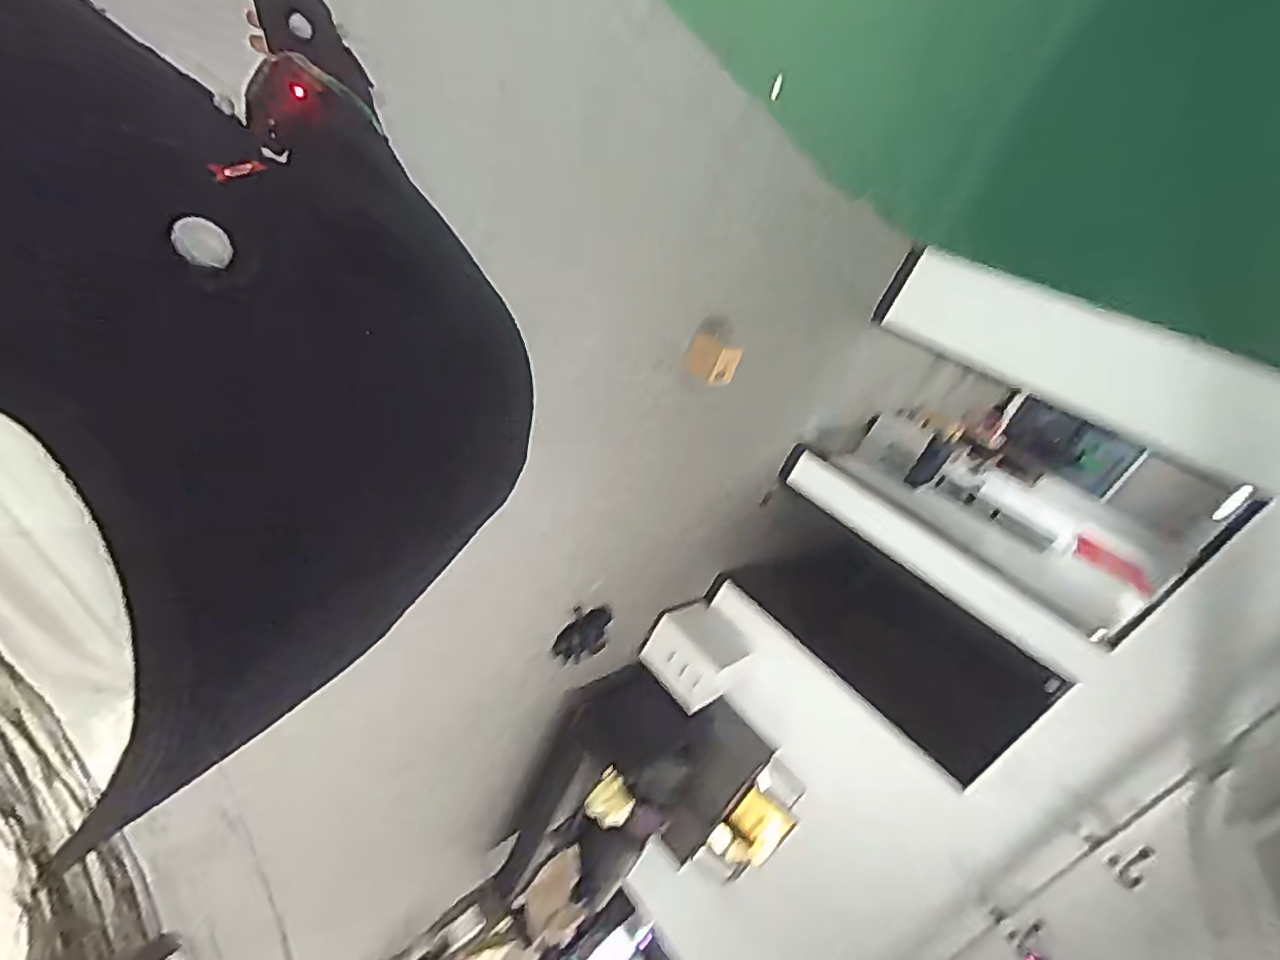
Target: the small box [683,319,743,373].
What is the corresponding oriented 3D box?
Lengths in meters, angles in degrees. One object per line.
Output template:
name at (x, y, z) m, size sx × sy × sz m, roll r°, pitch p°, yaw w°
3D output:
small box at (0.313, -0.589, 2.380) m, size 0.168 × 0.176 × 0.179 m, roll -15°, pitch 136°, yaw -44°
